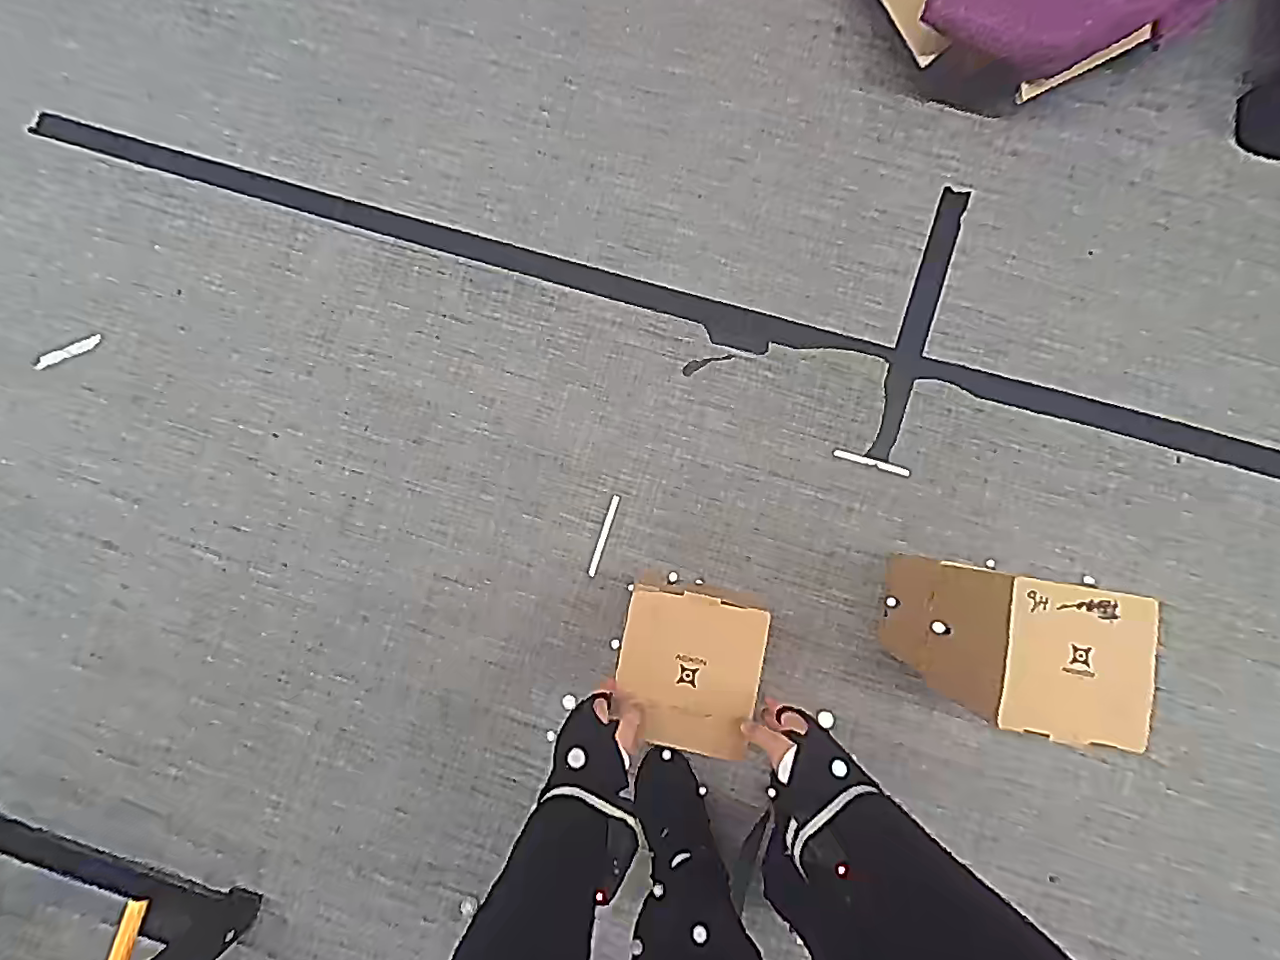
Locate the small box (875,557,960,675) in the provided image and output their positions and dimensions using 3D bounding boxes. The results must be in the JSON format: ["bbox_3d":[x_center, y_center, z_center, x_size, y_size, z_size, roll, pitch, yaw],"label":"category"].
[{"bbox_3d":[0.503,0.220,0.858,0.179,0.176,0.168,11,86,3],"label":"small box"}]

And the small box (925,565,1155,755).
[{"bbox_3d":[0.493,0.215,0.694,0.168,0.176,0.179,10,86,3],"label":"small box"}]

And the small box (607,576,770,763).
[{"bbox_3d":[0.060,0.229,0.707,0.168,0.176,0.179,11,87,4],"label":"small box"}]
